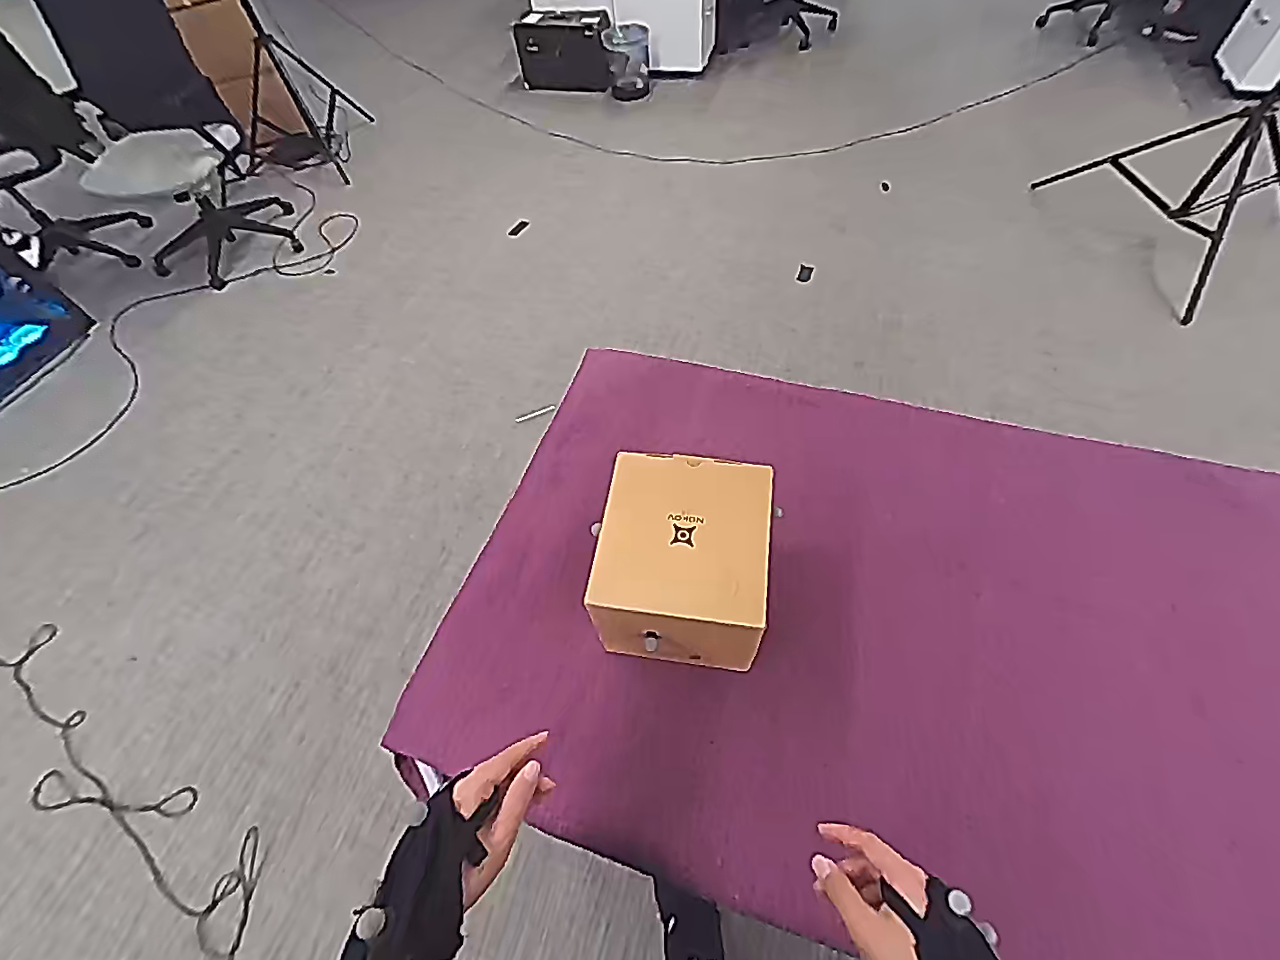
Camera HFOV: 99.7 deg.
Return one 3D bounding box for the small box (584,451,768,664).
[{"bbox_3d":[0.047,0.090,0.598,0.168,0.176,0.179,5,57,9],"label":"small box"}]
